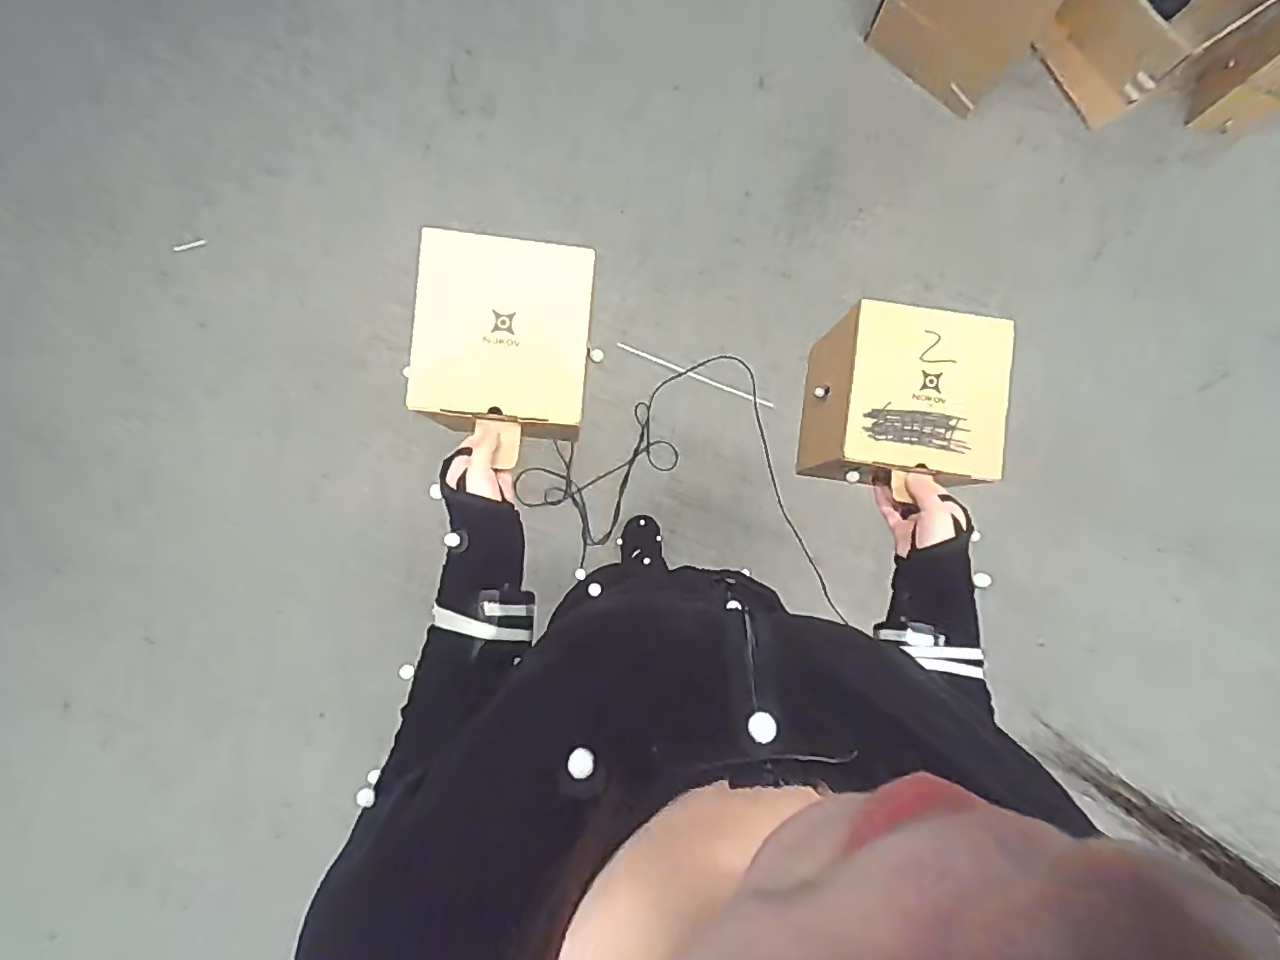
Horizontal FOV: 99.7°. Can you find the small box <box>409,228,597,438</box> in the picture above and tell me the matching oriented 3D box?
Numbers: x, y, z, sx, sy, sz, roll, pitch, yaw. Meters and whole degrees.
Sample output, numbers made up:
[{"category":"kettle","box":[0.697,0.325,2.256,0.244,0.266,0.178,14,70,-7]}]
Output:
[{"category":"small box","box":[-0.142,-0.148,0.606,0.168,0.176,0.179,6,89,-7]}]
